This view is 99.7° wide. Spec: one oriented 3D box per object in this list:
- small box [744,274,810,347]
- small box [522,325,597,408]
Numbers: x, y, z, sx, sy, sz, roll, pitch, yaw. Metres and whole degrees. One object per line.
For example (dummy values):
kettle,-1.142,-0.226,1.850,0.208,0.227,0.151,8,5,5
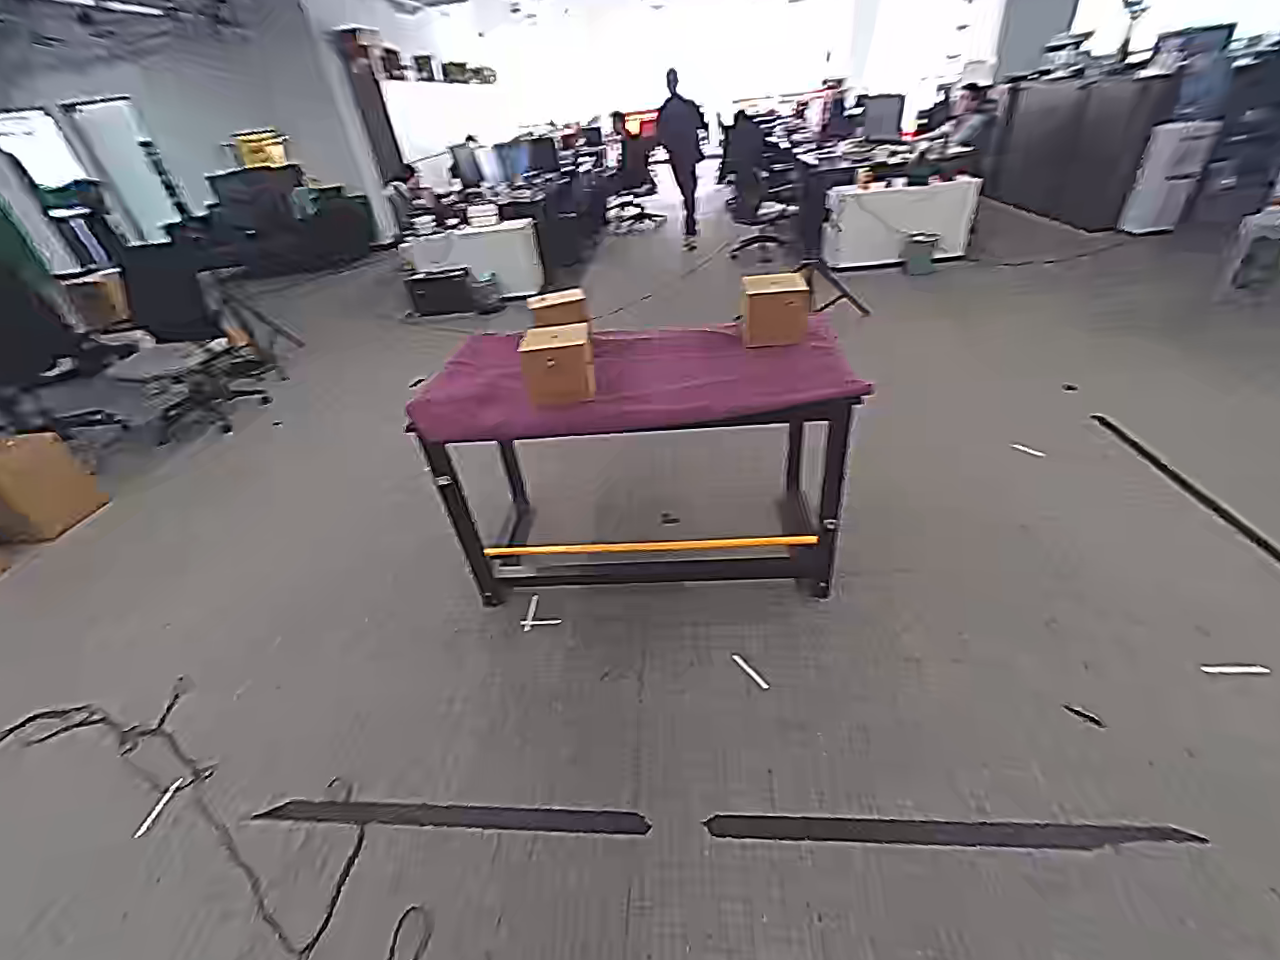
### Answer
small box,0.419,-0.524,1.680,0.179,0.176,0.168,-3,36,6
small box,-0.217,-0.318,1.512,0.179,0.176,0.168,-6,35,2
